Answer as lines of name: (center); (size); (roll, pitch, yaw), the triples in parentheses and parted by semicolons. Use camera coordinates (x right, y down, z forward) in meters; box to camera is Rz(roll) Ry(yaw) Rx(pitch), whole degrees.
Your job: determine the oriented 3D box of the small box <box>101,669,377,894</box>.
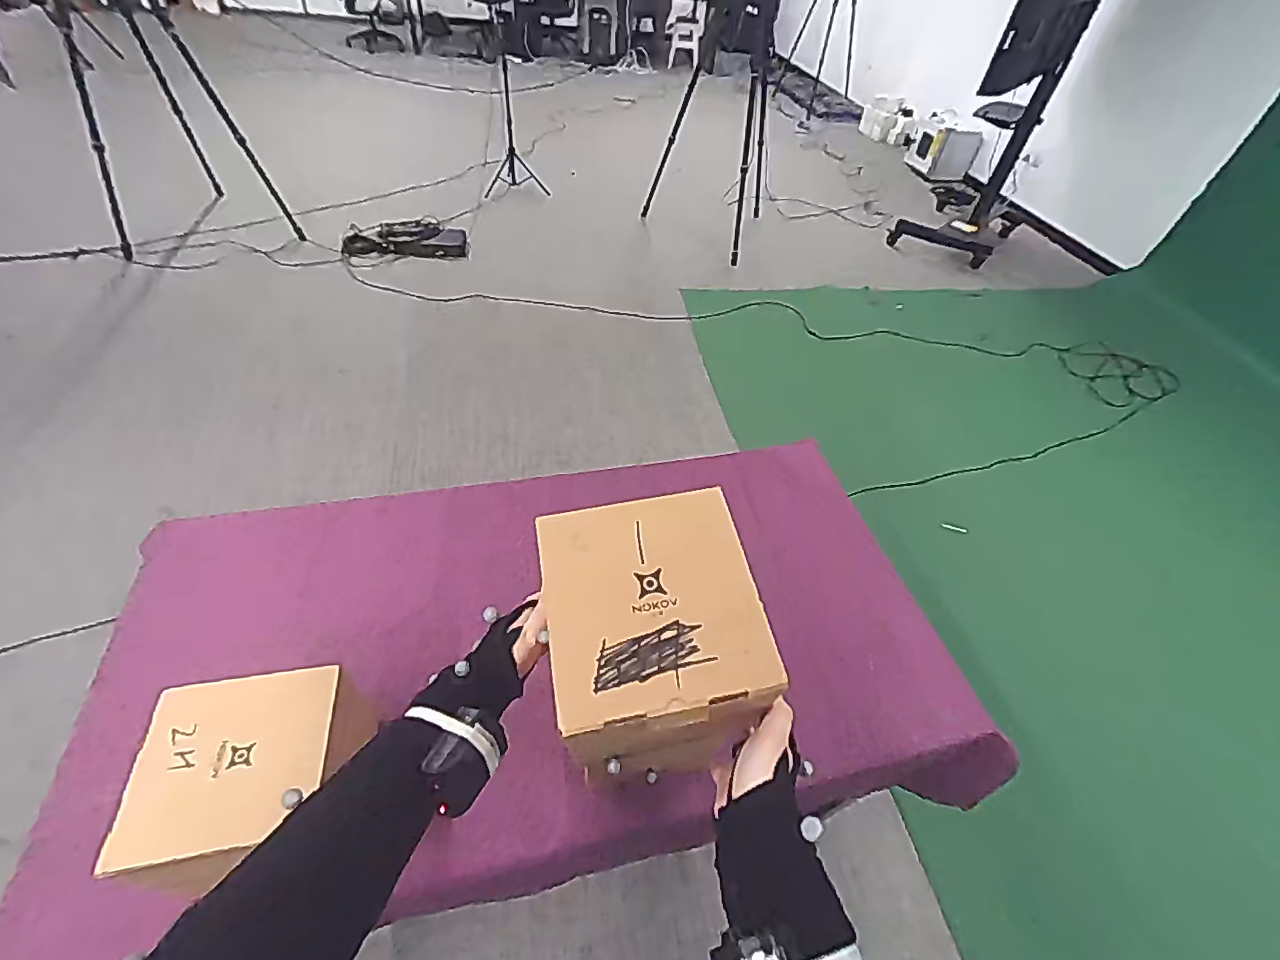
small box: (-0.408, 0.332, 0.597); (0.179, 0.176, 0.168); (-6, 48, -11)
